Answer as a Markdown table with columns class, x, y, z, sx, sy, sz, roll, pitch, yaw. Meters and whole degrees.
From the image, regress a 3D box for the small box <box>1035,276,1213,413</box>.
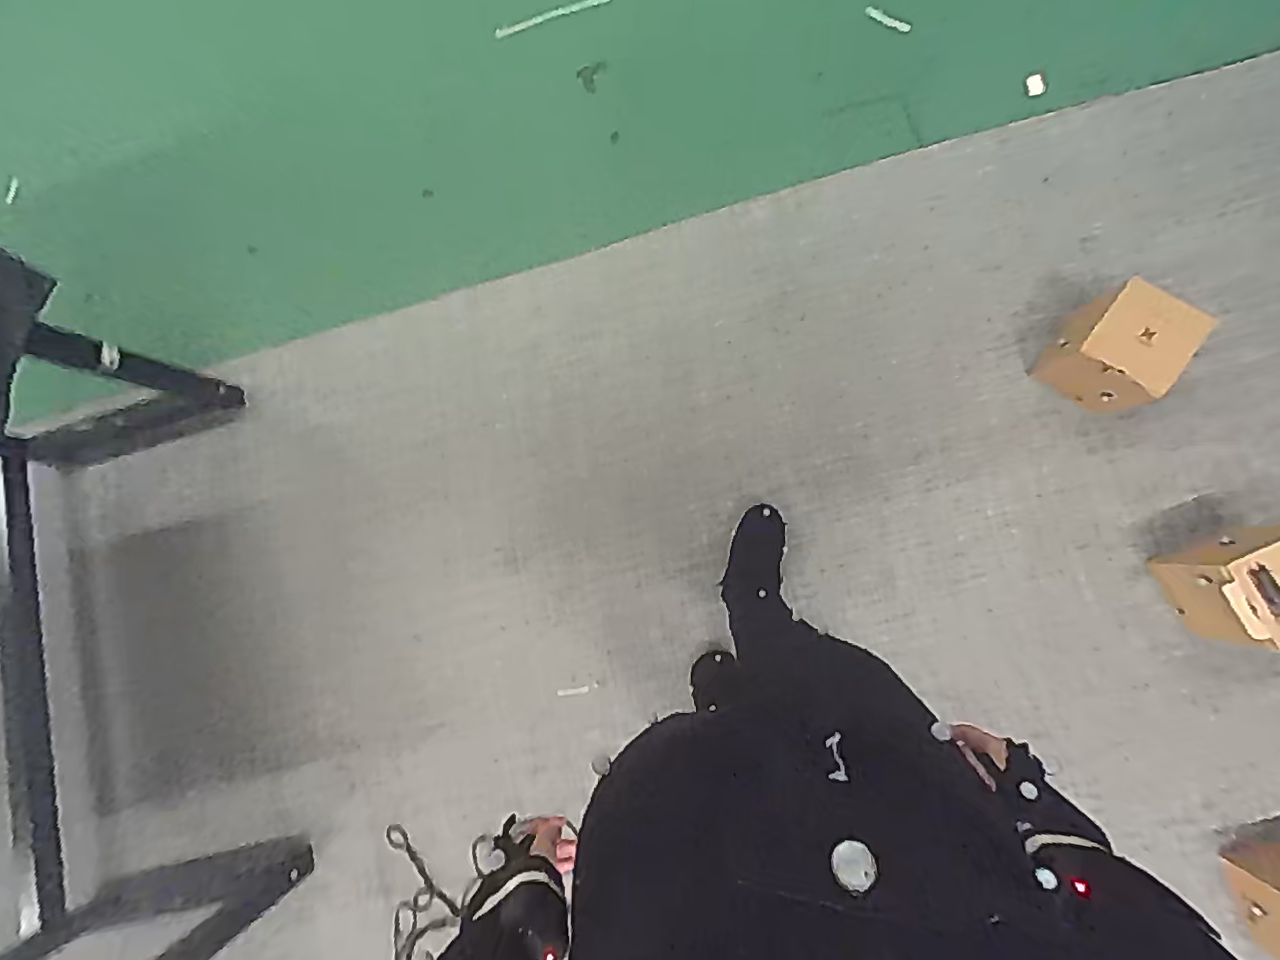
| class | x | y | z | sx | sy | sz | roll | pitch | yaw |
| --- | --- | --- | --- | --- | --- | --- | --- | --- | --- |
| small box | 0.936 | -0.256 | 1.070 | 0.168 | 0.176 | 0.179 | 36 | 88 | 8 |

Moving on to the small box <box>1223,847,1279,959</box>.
| class | x | y | z | sx | sy | sz | roll | pitch | yaw |
| --- | --- | --- | --- | --- | --- | --- | --- | --- | --- |
| small box | 1.191 | 0.755 | 0.925 | 0.179 | 0.176 | 0.168 | -16 | 82 | 5 |
